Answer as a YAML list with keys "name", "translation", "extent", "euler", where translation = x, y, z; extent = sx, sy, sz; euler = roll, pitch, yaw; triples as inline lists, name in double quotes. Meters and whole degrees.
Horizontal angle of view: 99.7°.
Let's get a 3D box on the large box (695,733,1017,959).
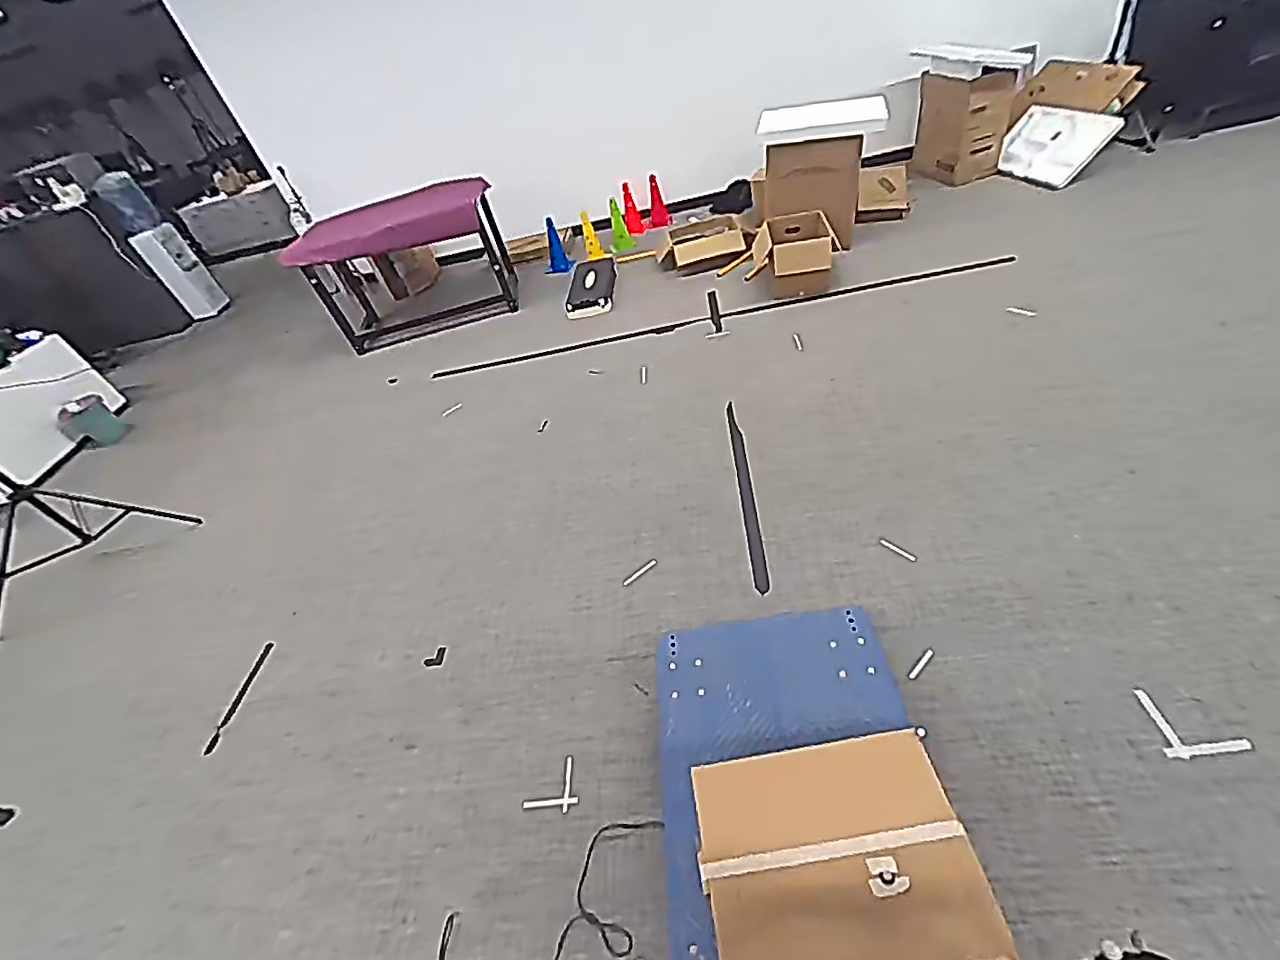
- name: "large box"
  translation: [0.334, 0.699, 0.951]
  extent: [0.408, 0.320, 0.320]
  euler: [-12, 43, 3]
